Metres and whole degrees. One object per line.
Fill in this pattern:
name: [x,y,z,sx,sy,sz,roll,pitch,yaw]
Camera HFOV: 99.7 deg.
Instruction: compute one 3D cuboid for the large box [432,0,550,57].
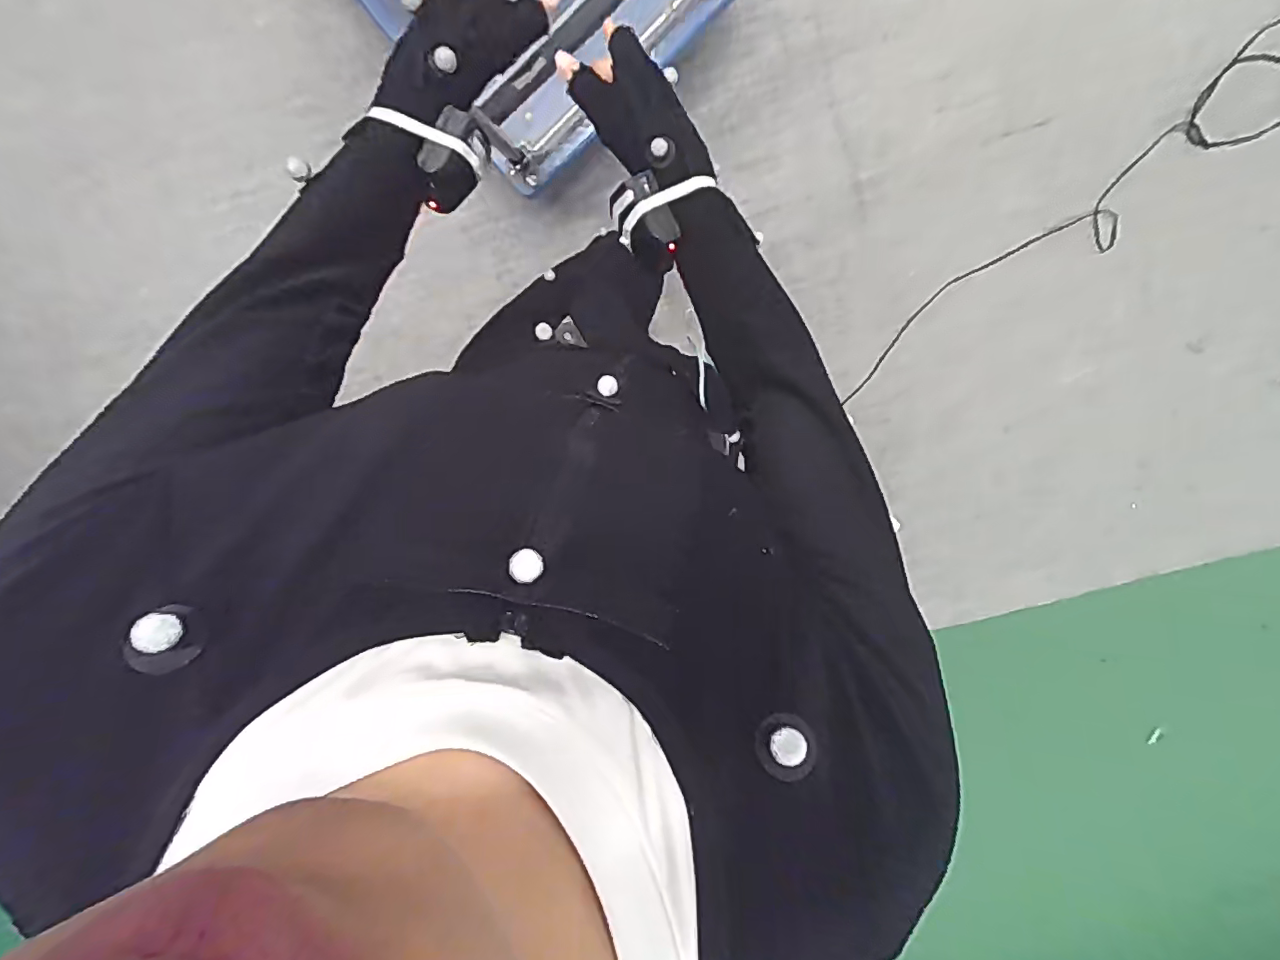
large box: [-0.252,-0.961,0.790,0.320,0.320,0.408,26,110,-10]
